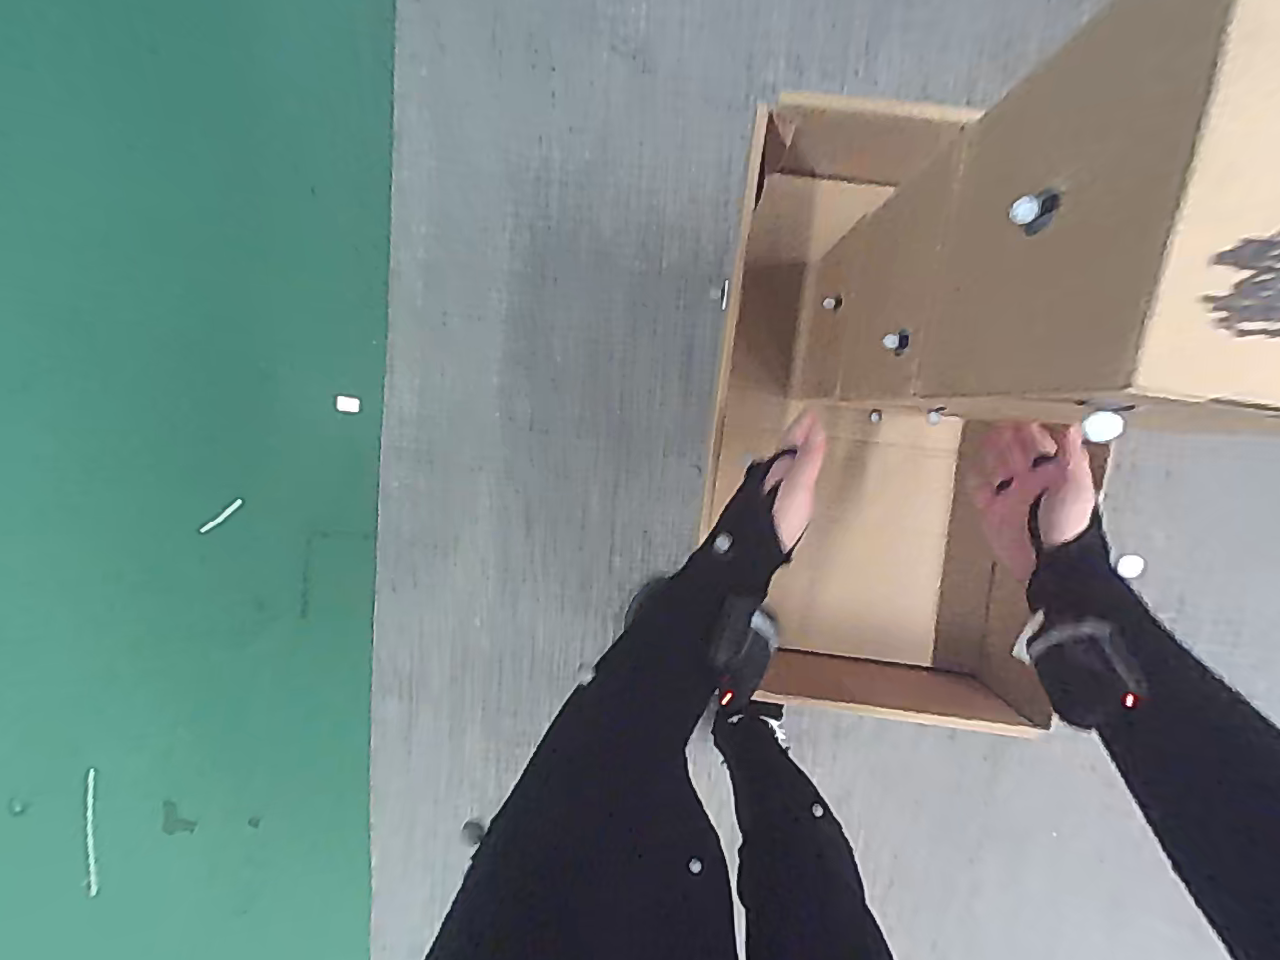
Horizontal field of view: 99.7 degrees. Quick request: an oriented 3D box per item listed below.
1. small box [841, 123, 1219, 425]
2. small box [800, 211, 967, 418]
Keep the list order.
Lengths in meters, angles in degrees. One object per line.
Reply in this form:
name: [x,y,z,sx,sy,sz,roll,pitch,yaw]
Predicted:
small box: [0.277,-0.142,0.432,0.168,0.176,0.179,7,98,1]
small box: [0.286,-0.166,0.592,0.168,0.176,0.179,8,98,2]
